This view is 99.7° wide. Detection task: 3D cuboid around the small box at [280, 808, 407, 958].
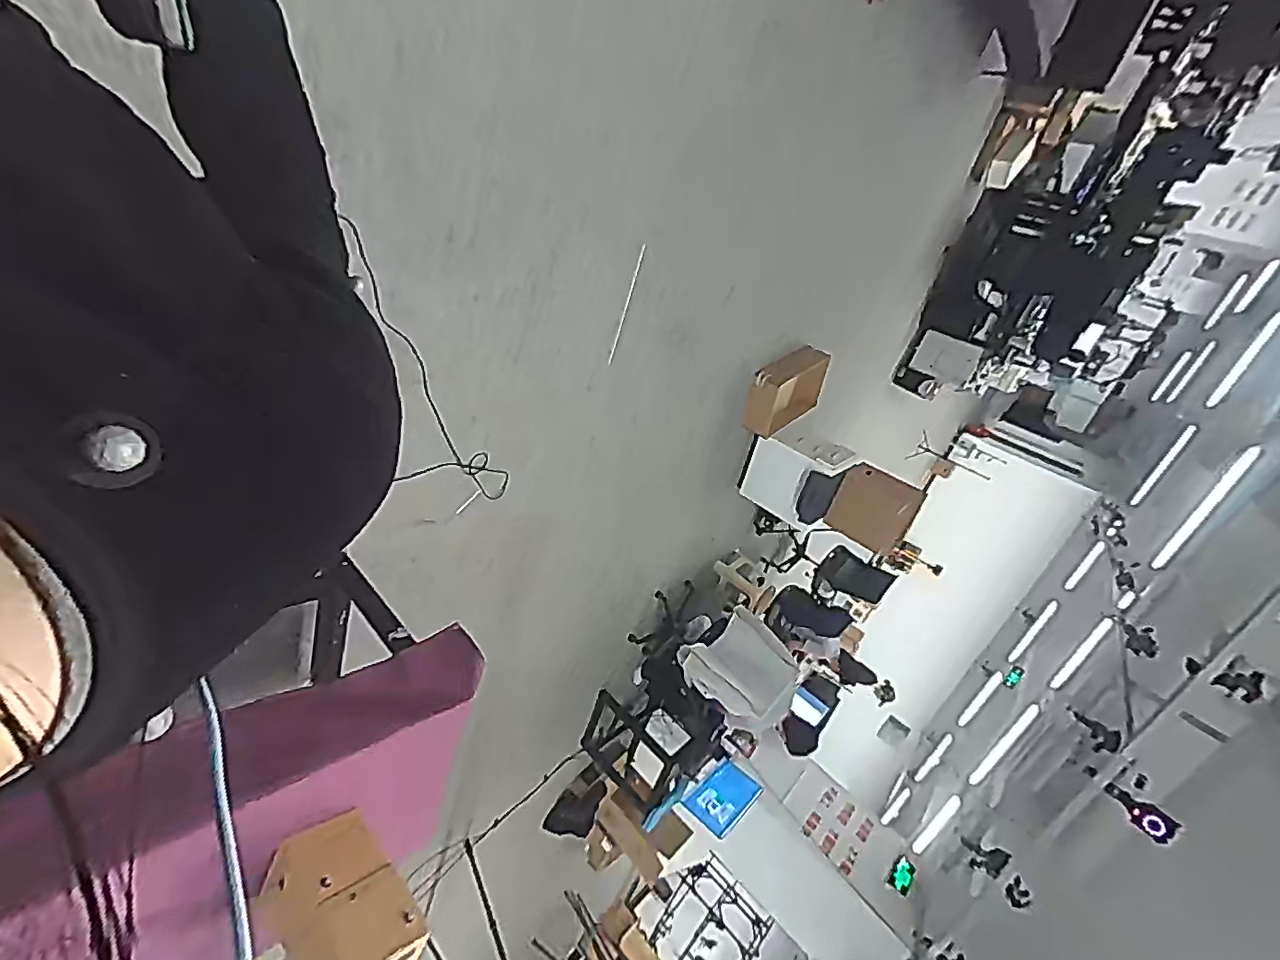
[{"bbox_3d":[-0.662,0.882,1.206,0.179,0.176,0.168,6,113,-55],"label":"small box"}]
